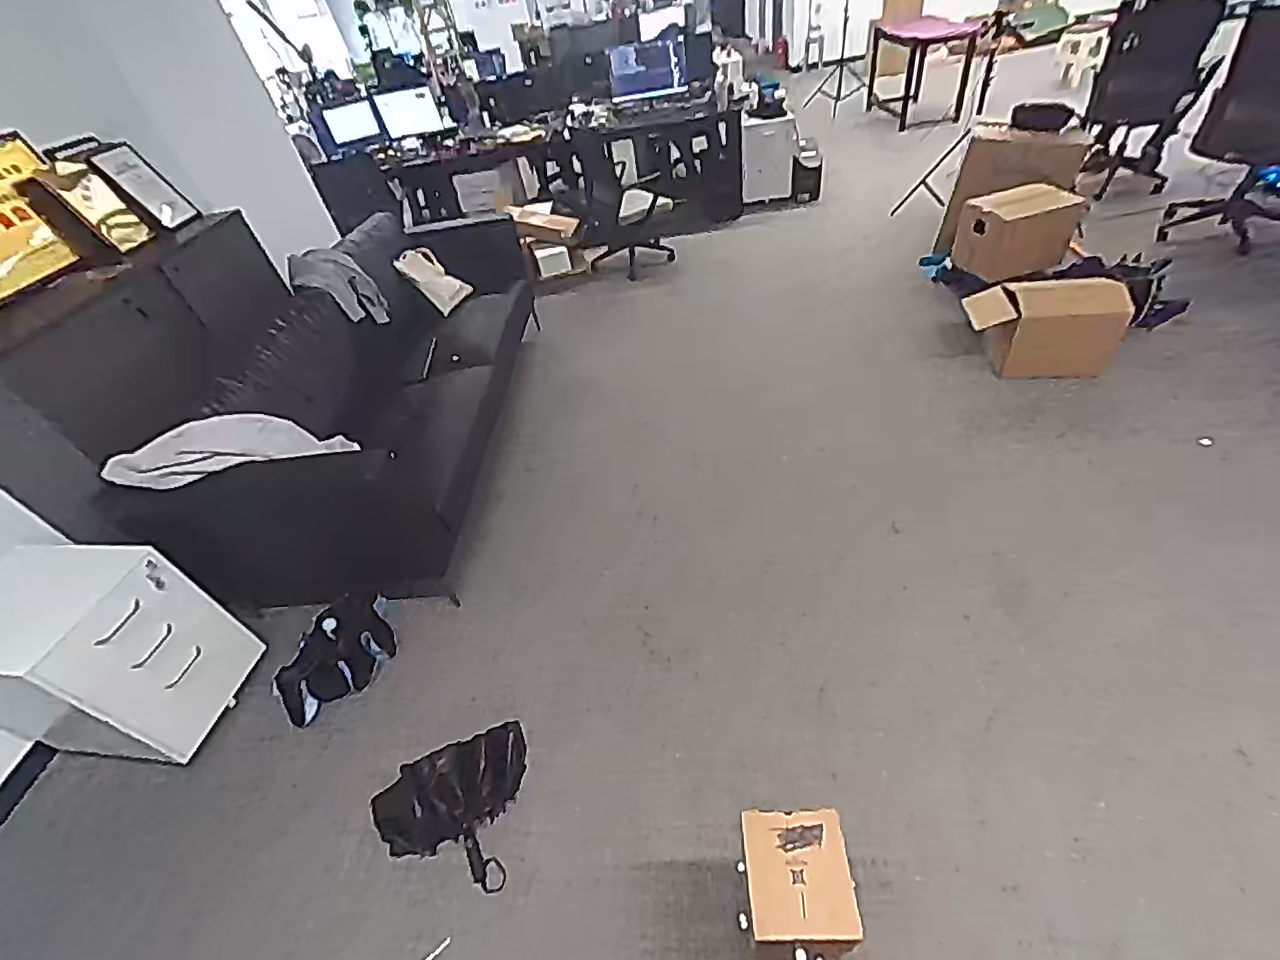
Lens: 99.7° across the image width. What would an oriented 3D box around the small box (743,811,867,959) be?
[{"bbox_3d":[0.265,0.684,0.914,0.168,0.176,0.179,-4,44,6],"label":"small box"}]
